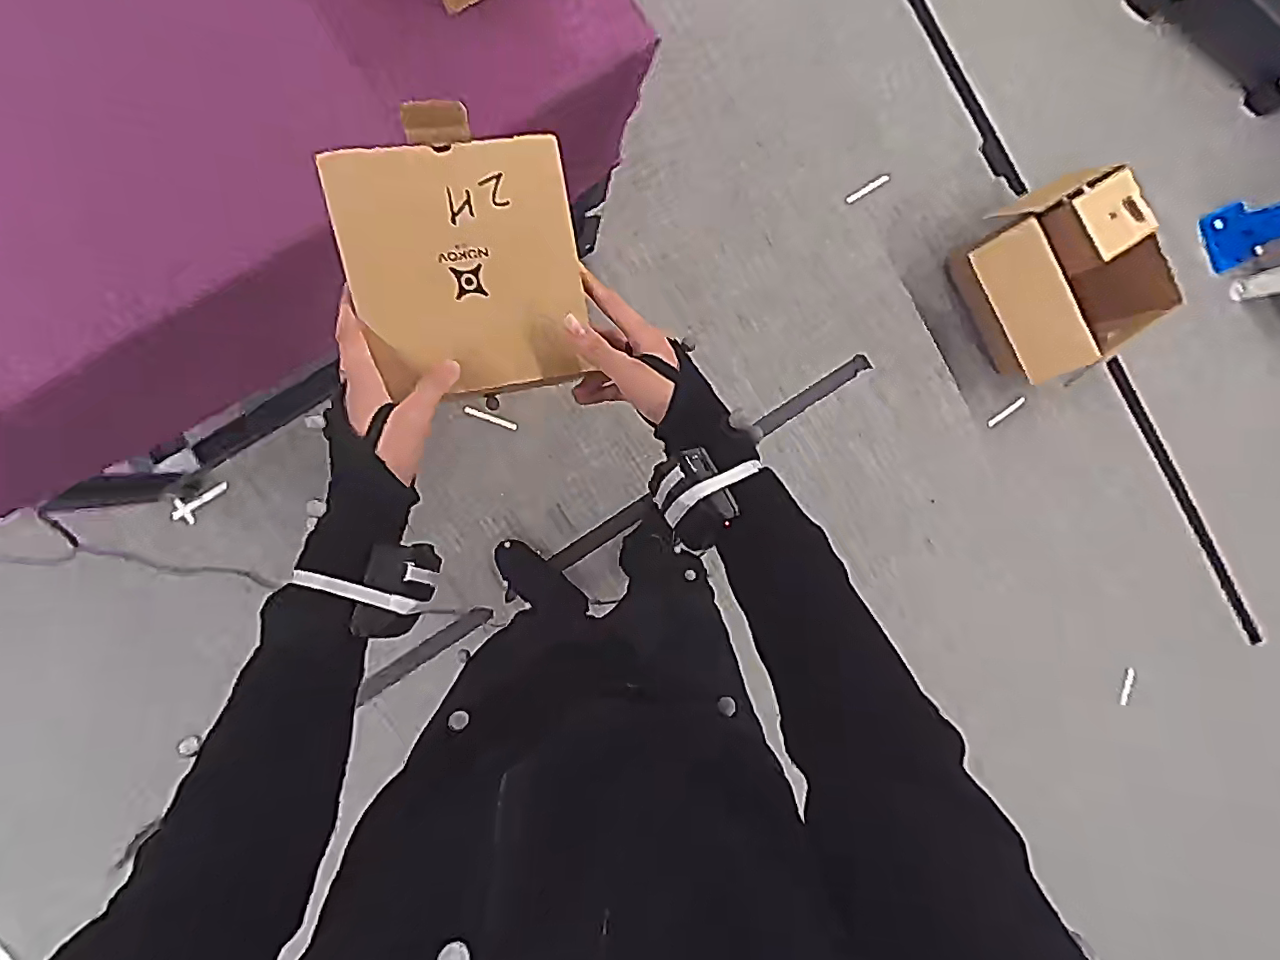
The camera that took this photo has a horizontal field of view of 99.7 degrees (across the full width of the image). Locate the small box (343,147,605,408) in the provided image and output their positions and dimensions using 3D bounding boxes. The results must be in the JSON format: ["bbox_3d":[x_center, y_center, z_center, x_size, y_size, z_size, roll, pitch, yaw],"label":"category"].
[{"bbox_3d":[-0.134,-0.163,0.481,0.168,0.176,0.179,-11,99,-12],"label":"small box"}]

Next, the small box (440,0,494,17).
[{"bbox_3d":[-0.207,-0.690,0.602,0.168,0.176,0.179,-38,97,-6],"label":"small box"}]
